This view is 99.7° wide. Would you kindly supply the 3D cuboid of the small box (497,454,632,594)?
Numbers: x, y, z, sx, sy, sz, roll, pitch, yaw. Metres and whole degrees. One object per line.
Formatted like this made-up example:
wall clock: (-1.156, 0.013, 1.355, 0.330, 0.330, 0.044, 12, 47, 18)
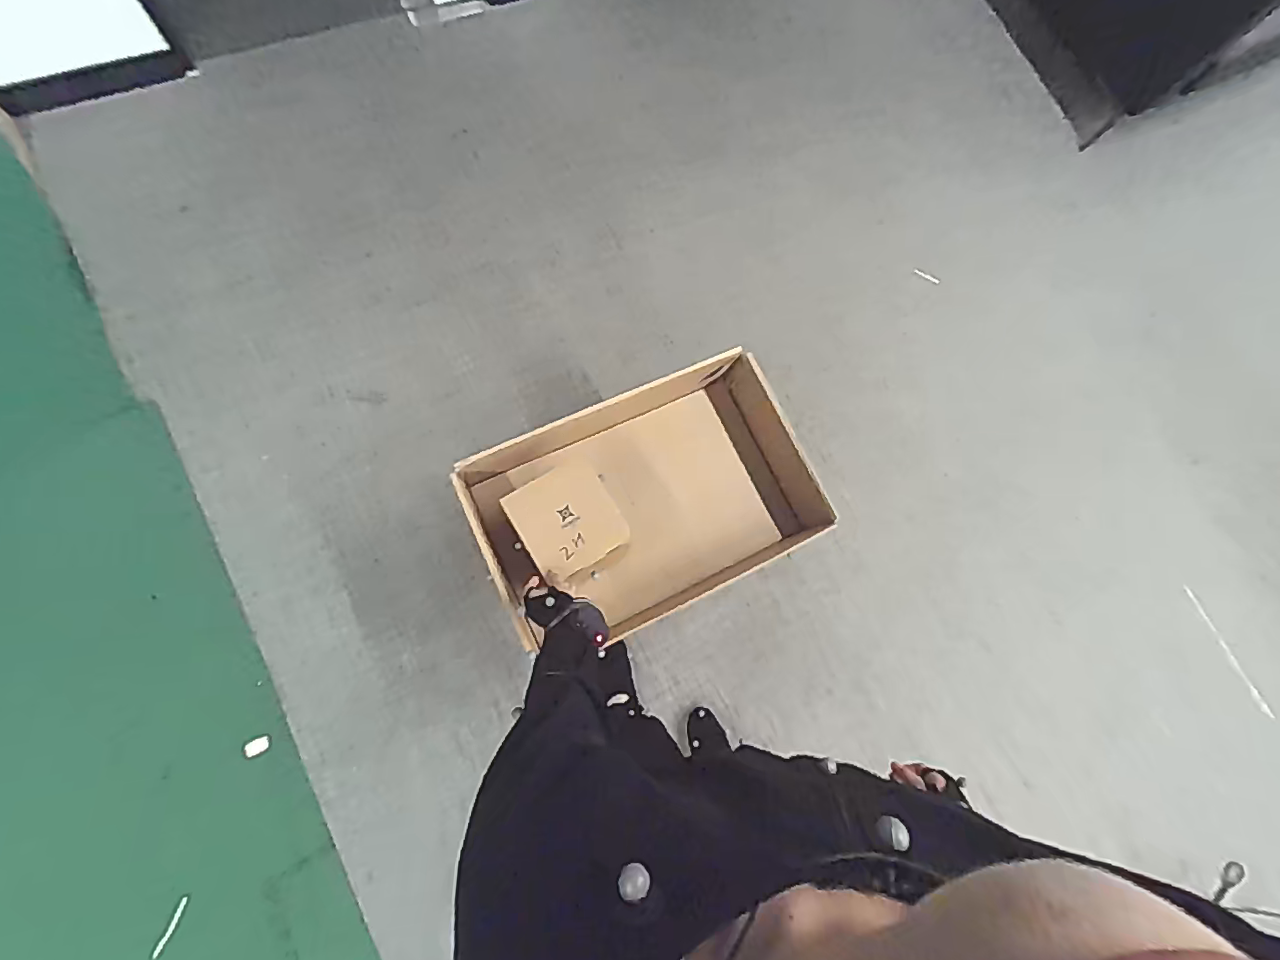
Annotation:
small box: (-0.134, 0.085, 0.964, 0.168, 0.176, 0.179, -30, 79, -14)
